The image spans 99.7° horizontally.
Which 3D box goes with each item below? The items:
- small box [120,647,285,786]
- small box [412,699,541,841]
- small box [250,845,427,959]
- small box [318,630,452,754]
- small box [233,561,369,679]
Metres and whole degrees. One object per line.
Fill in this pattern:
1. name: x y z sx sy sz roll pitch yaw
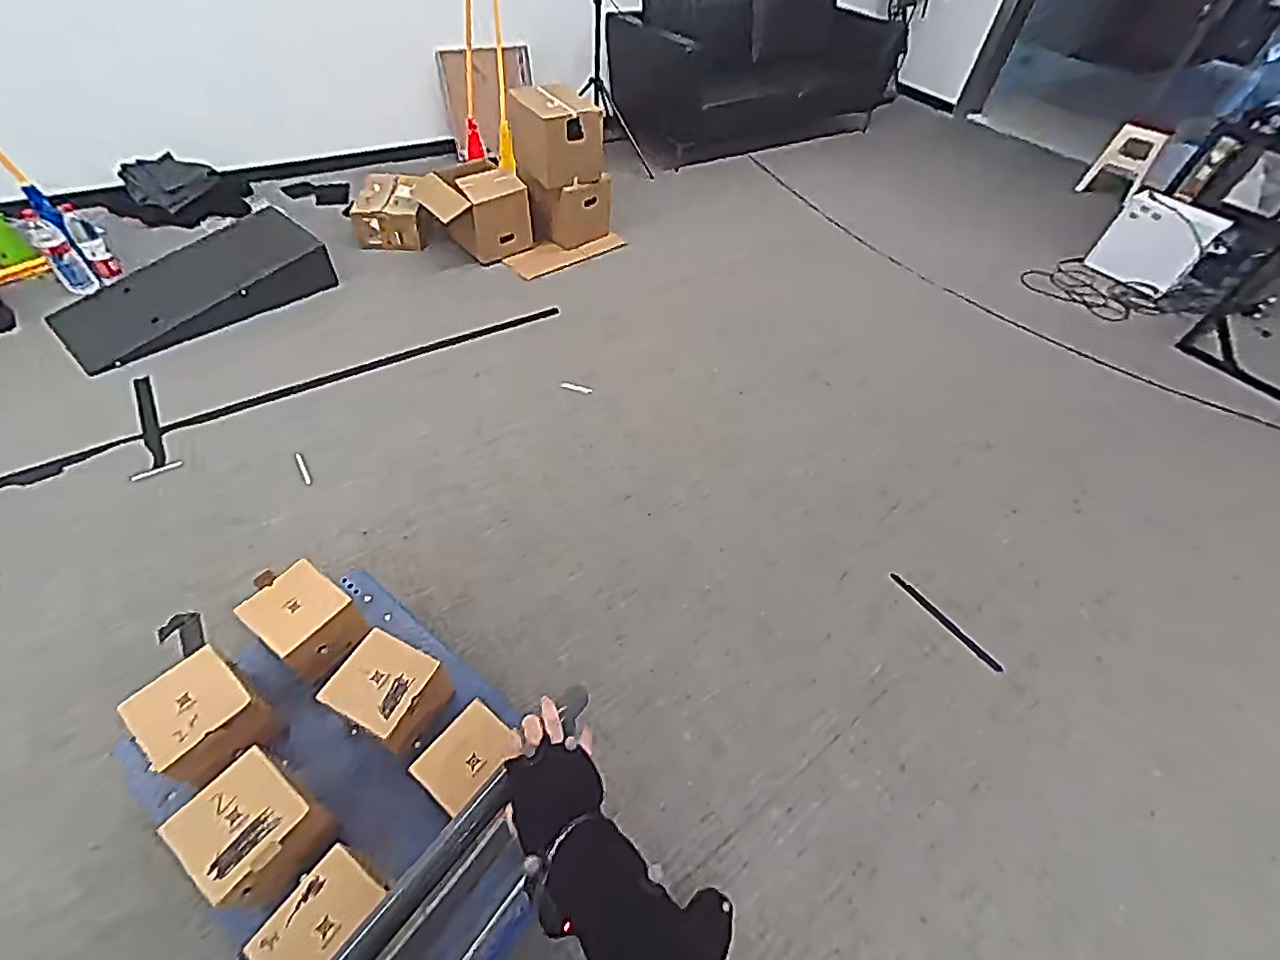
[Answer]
1. small box: -0.859 0.475 1.078 0.179 0.176 0.168 35 55 19
2. small box: -0.310 0.576 1.066 0.179 0.176 0.168 33 53 20
3. small box: -0.483 0.750 0.897 0.179 0.176 0.168 30 52 17
4. small box: -0.524 0.452 1.142 0.179 0.176 0.168 22 51 12
5. small box: -0.751 0.324 1.221 0.179 0.176 0.168 30 53 17
